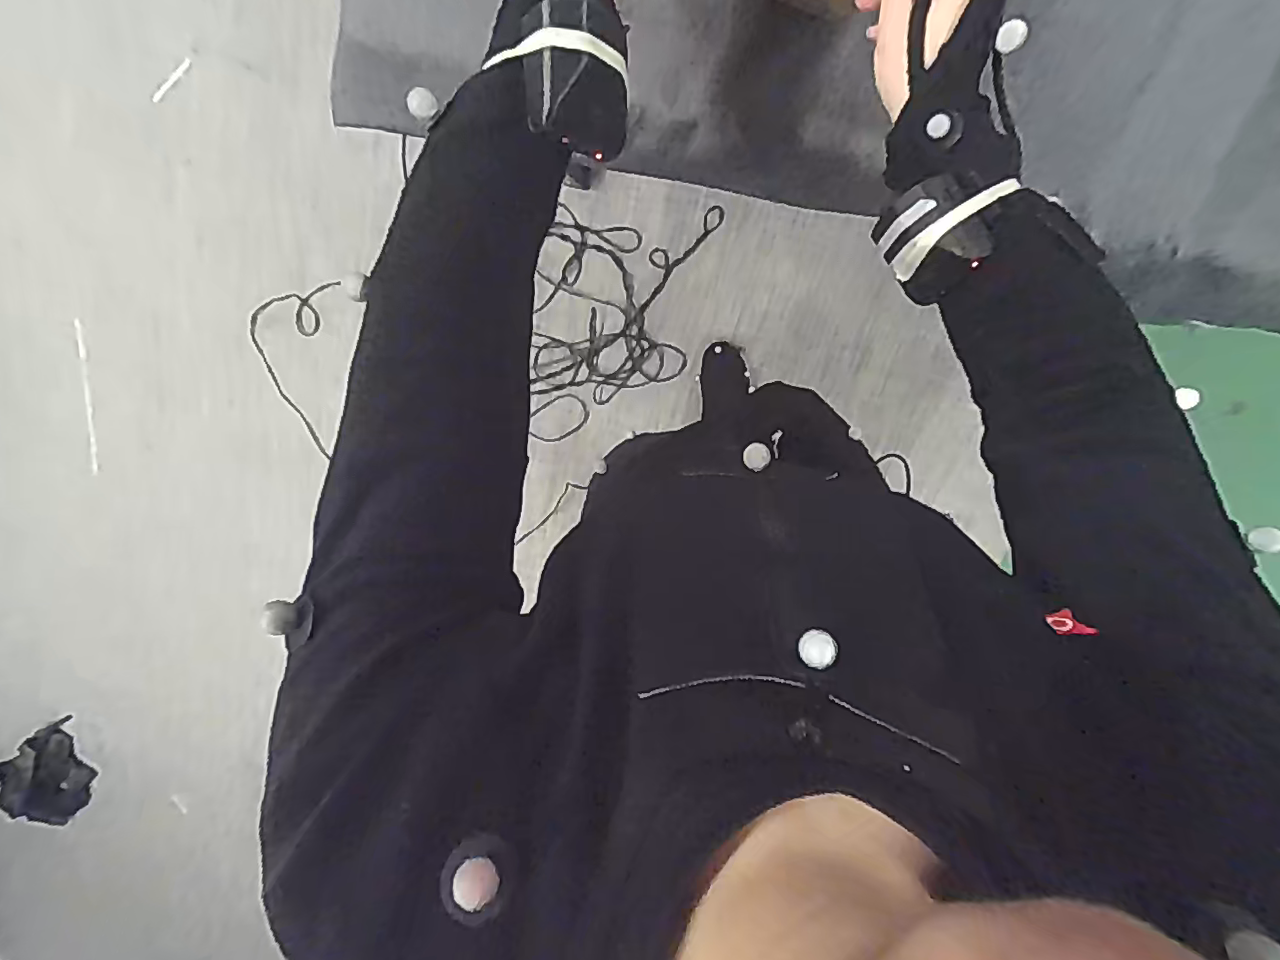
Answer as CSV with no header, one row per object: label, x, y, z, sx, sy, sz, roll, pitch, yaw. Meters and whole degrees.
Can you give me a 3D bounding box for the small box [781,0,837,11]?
small box,0.103,-0.446,0.351,0.179,0.176,0.168,15,122,-7
